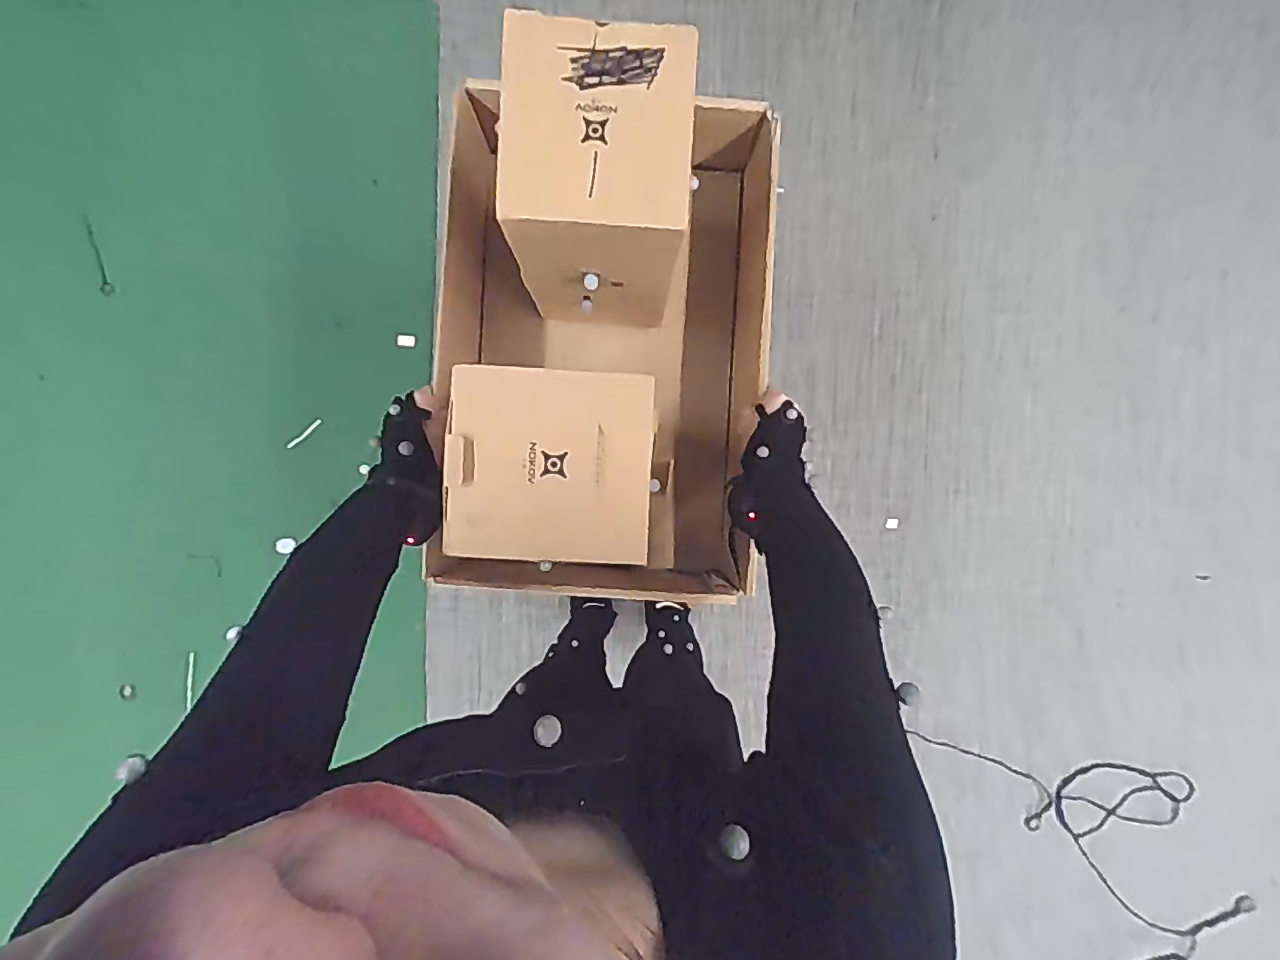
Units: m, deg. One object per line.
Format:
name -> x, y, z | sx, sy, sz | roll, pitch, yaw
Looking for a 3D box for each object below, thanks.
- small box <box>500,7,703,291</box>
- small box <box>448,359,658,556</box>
small box -> -0.036, -0.308, 0.539 | 0.168, 0.176, 0.179 | 3, 92, -2
small box -> -0.078, -0.019, 0.546 | 0.179, 0.176, 0.168 | 2, 90, -3
